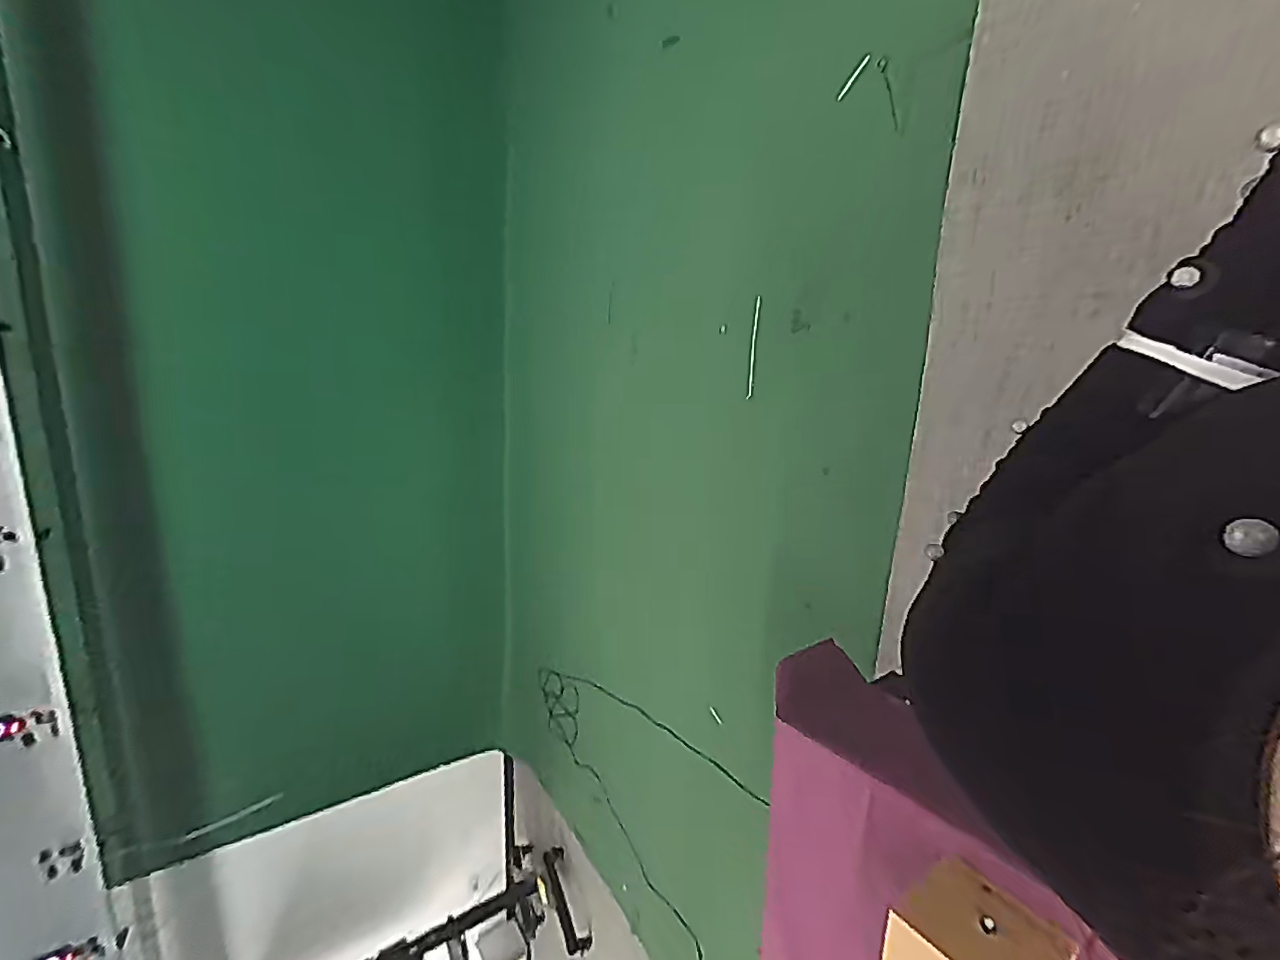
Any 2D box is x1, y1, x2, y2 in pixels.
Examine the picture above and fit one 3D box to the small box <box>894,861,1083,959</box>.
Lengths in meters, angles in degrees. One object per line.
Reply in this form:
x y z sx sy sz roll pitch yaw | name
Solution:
0.464 0.672 0.728 0.168 0.176 0.179 16 108 53 | small box
